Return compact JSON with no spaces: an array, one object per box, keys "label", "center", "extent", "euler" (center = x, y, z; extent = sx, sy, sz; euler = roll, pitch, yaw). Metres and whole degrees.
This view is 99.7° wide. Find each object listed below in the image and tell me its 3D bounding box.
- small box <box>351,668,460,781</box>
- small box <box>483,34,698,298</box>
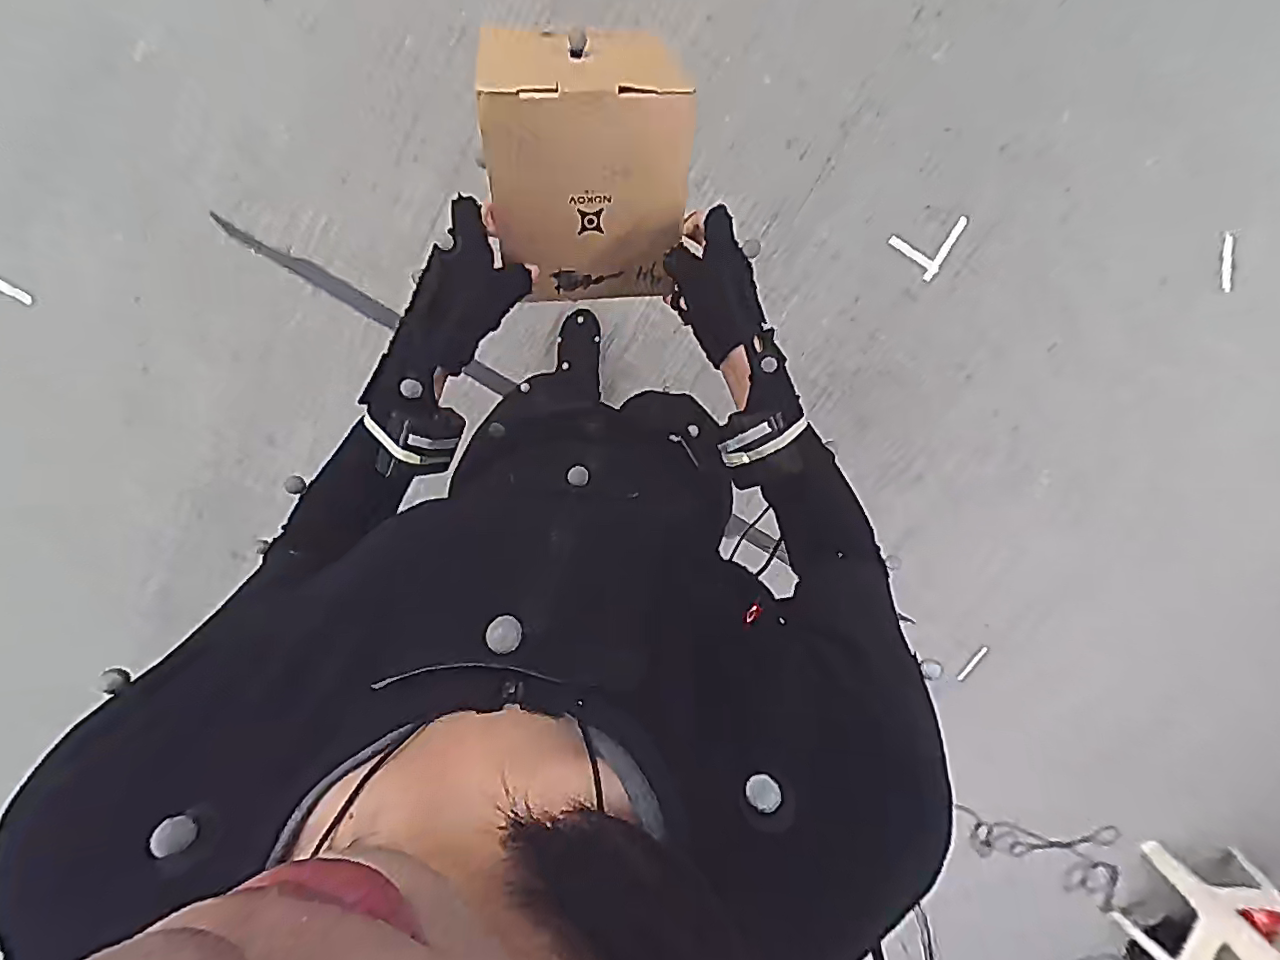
[{"label":"small box","center":[-0.589,0.618,1.387],"extent":[0.179,0.176,0.168],"euler":[32,101,-10]},{"label":"small box","center":[-0.054,-0.298,0.513],"extent":[0.168,0.176,0.179],"euler":[-5,140,-9]}]
